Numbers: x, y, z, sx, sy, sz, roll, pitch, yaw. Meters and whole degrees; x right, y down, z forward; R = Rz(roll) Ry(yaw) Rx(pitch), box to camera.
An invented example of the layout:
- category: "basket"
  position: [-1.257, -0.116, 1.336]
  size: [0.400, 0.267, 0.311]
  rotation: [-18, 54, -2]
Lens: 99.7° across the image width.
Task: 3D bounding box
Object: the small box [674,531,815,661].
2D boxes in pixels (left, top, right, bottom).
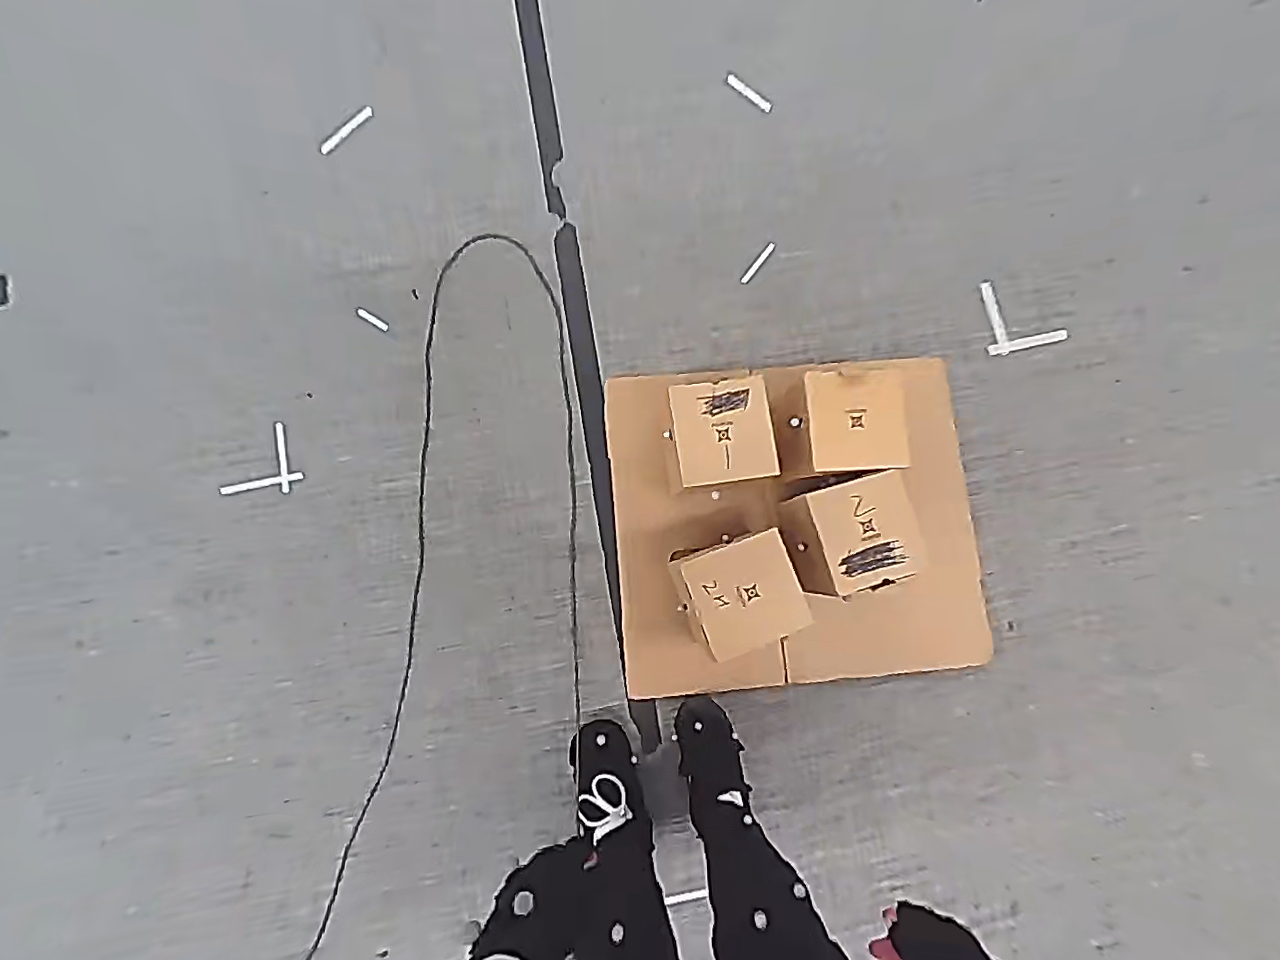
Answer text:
- category: "small box"
  position: [0.171, 0.196, 0.948]
  size: [0.179, 0.176, 0.168]
  rotation: [-20, 82, -5]

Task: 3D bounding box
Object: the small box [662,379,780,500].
- category: "small box"
  position: [0.138, -0.067, 0.987]
  size: [0.168, 0.176, 0.179]
  rotation: [-8, 83, -4]
